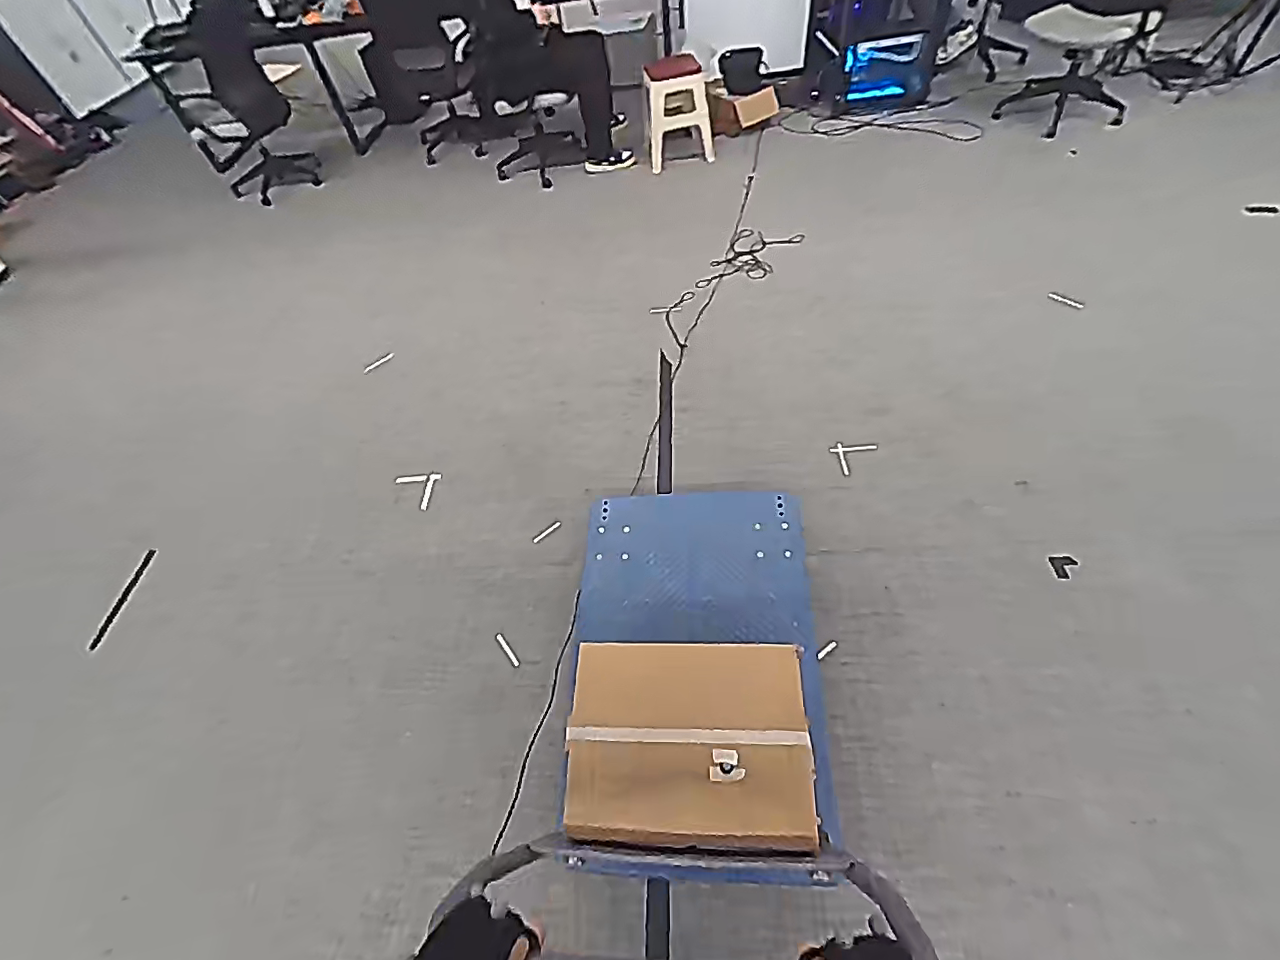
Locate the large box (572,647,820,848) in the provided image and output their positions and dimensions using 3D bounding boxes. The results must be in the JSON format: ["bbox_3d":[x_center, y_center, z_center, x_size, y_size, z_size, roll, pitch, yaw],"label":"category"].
[{"bbox_3d":[0.102,0.526,1.061,0.408,0.320,0.320,-2,59,7],"label":"large box"}]
